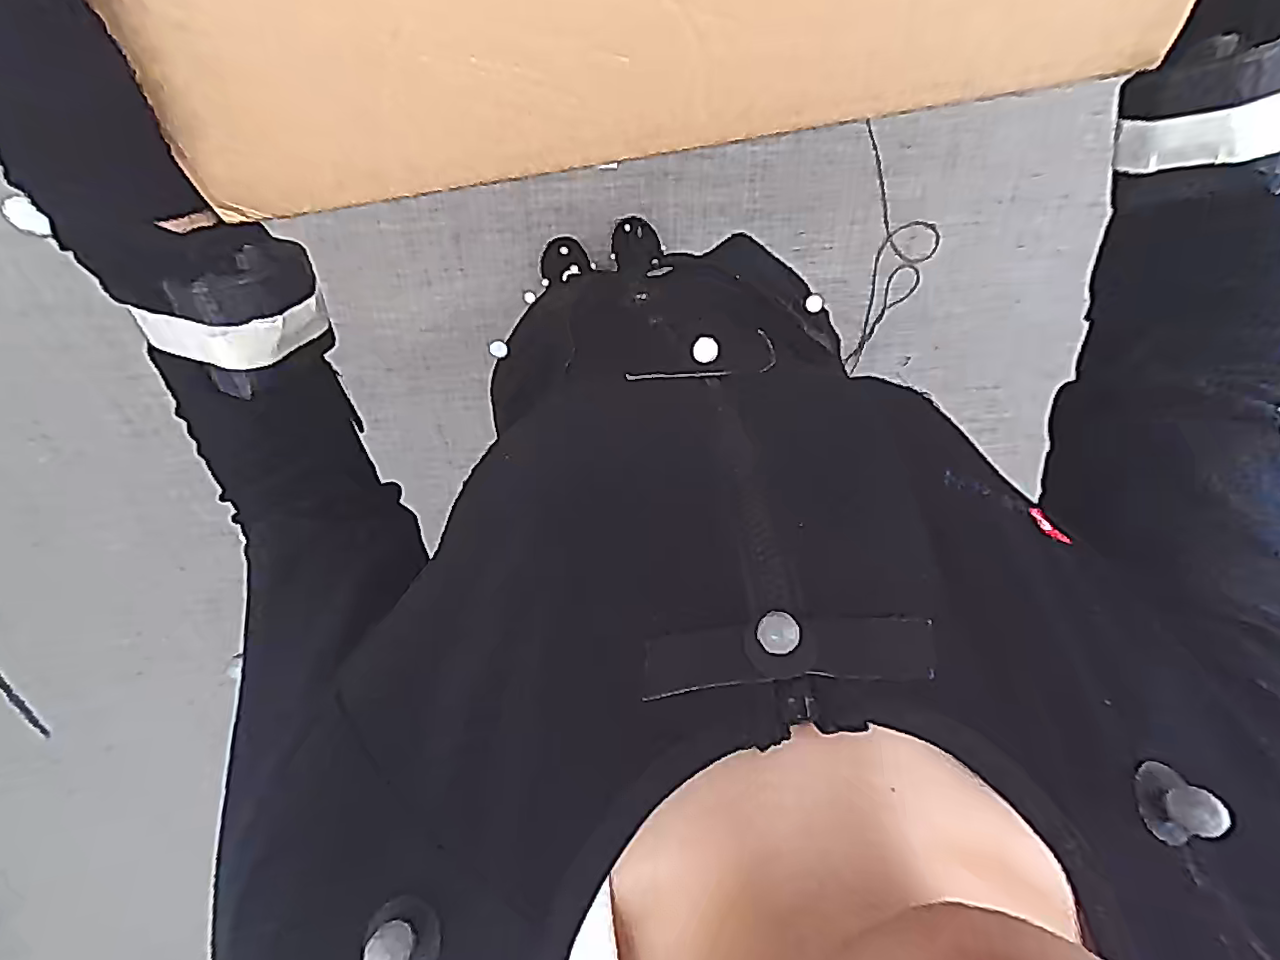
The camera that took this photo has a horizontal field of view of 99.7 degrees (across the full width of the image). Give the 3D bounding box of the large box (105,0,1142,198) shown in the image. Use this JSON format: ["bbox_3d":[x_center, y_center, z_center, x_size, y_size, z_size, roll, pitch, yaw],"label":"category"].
[{"bbox_3d":[-0.016,-0.366,0.218,0.408,0.320,0.320,-8,139,0],"label":"large box"}]
